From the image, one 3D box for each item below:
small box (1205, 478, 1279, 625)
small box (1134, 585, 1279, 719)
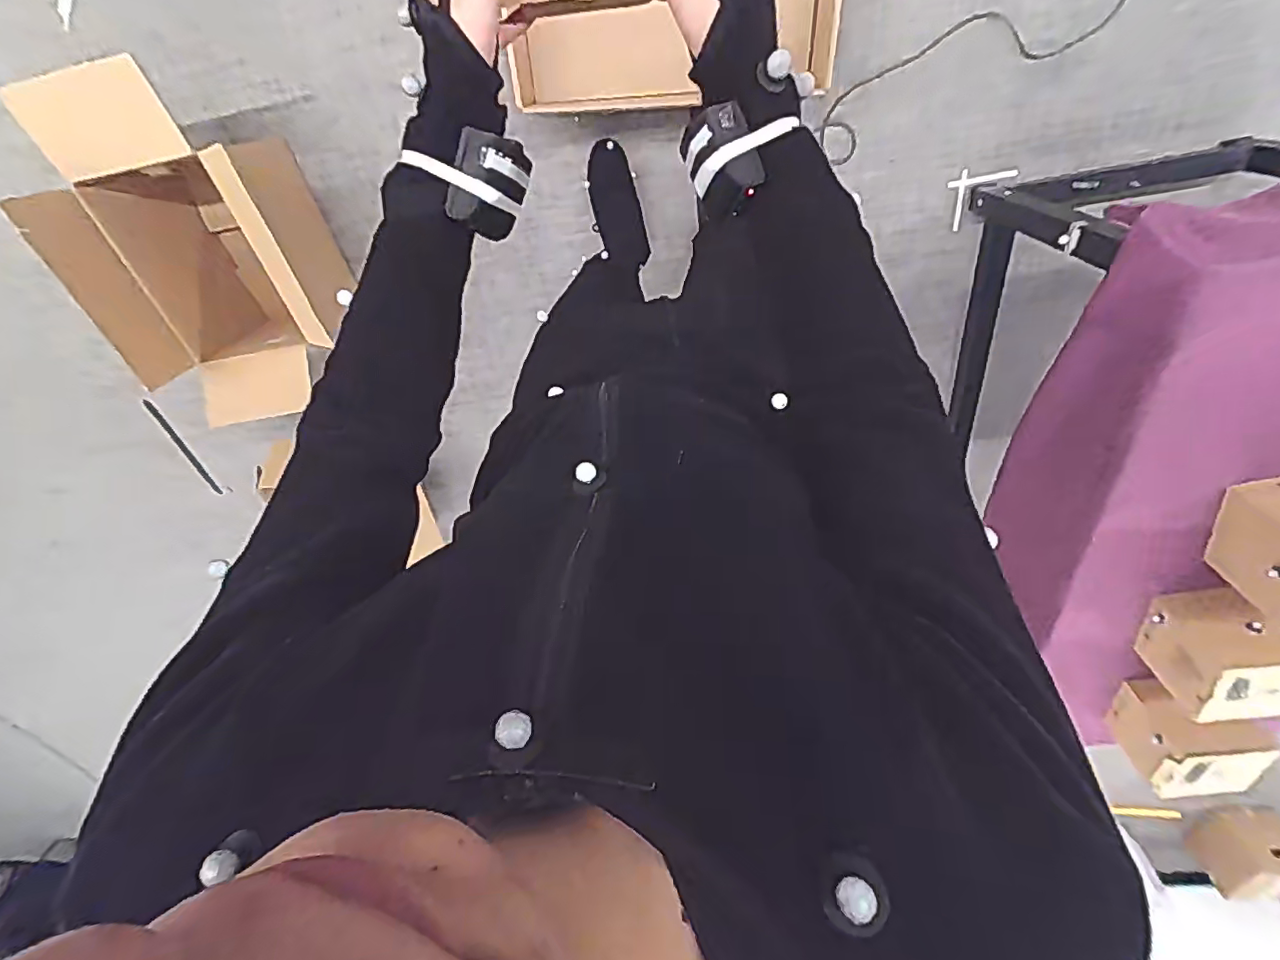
[{"bbox_3d":[1.058,0.102,0.848,0.168,0.176,0.179,-13,125,14],"label":"small box"},{"bbox_3d":[1.085,0.315,1.005,0.179,0.176,0.168,-10,125,10],"label":"small box"}]
